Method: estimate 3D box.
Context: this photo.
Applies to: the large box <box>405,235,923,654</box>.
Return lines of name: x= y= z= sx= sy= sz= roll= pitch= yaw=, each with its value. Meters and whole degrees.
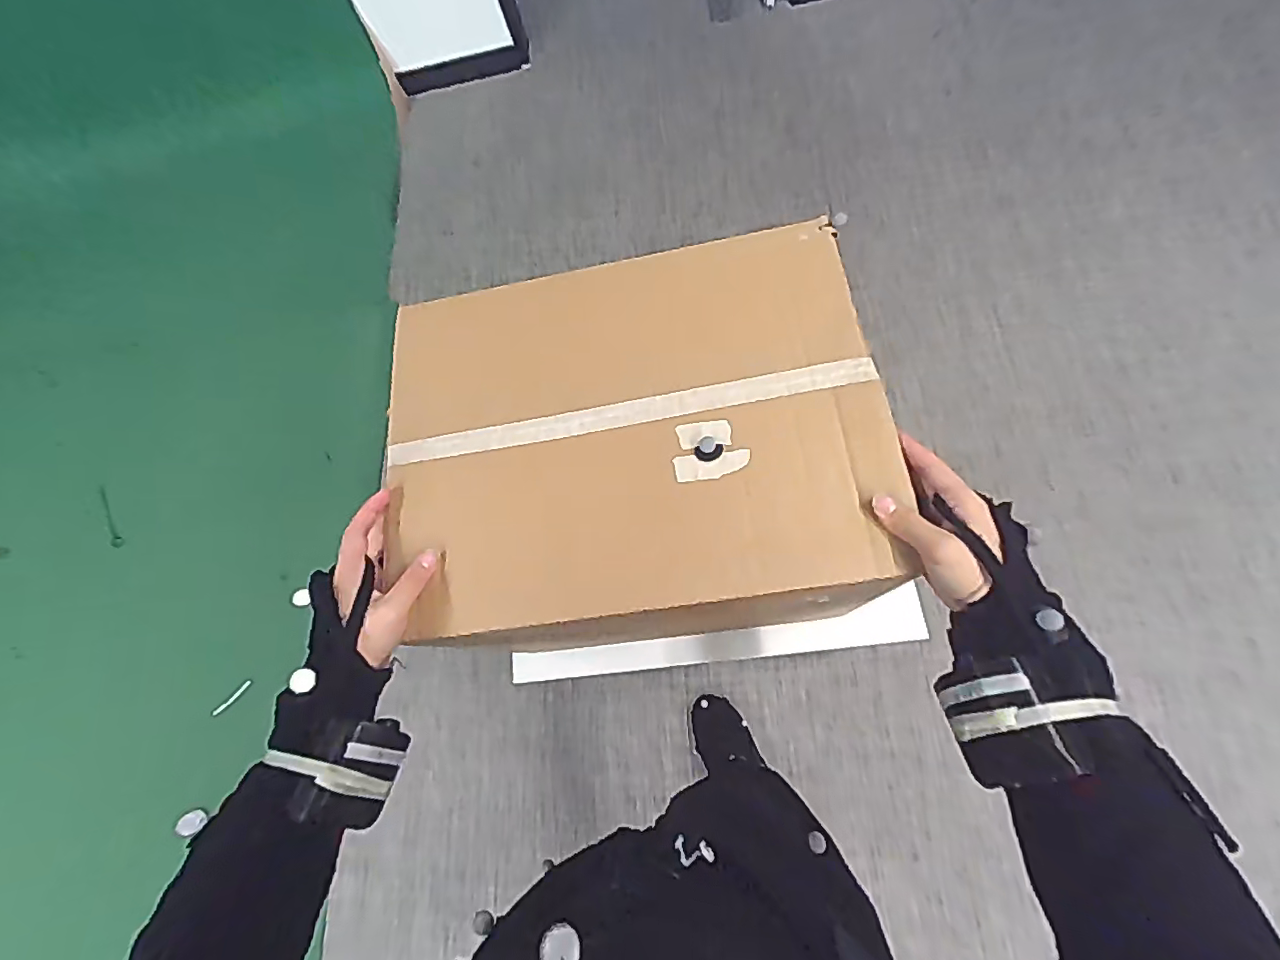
large box: x=0.012 y=0.001 z=0.594 sx=0.408 sy=0.320 sz=0.320 roll=-9 pitch=70 yaw=5
